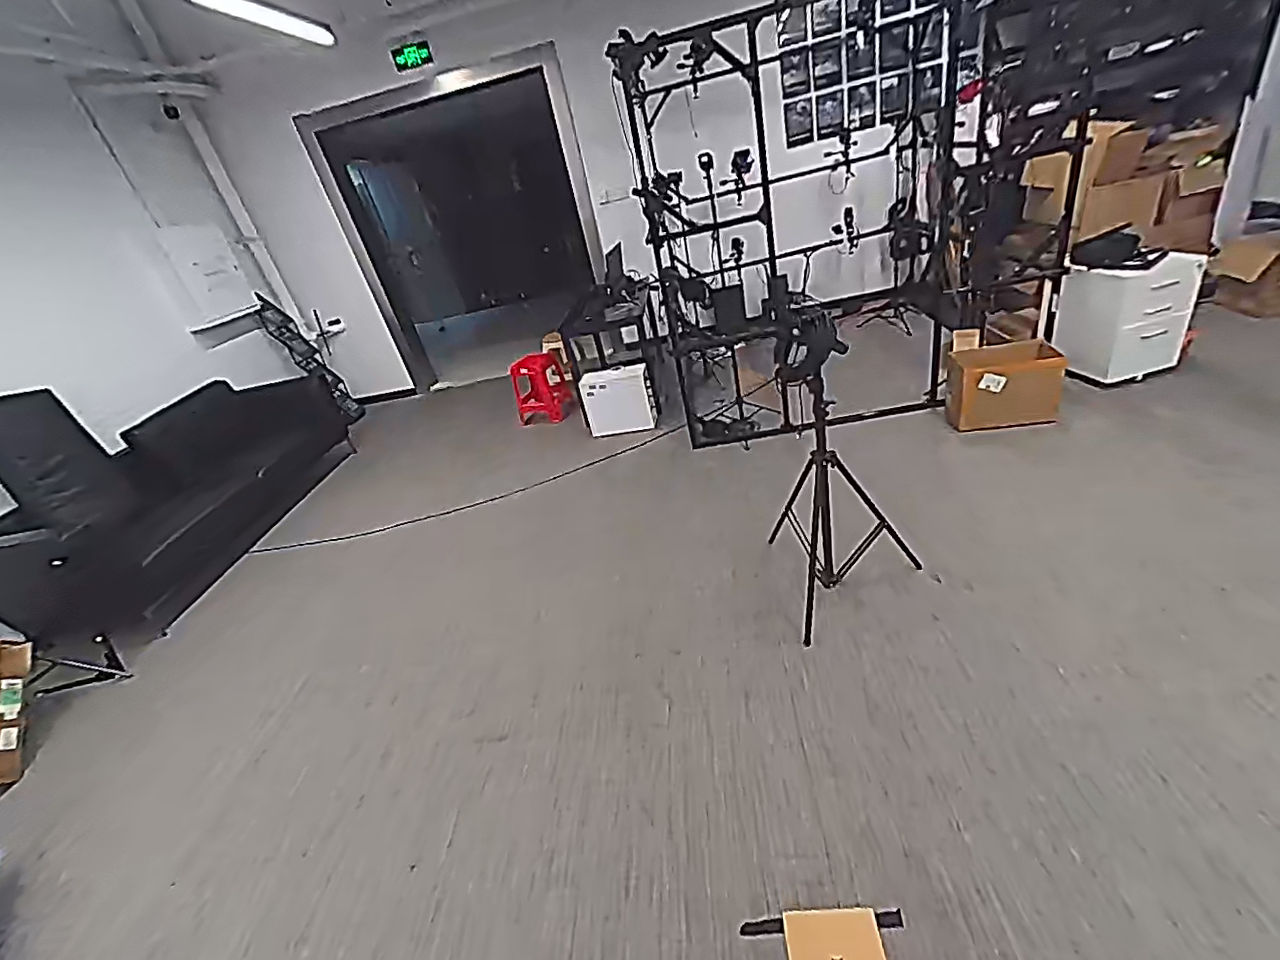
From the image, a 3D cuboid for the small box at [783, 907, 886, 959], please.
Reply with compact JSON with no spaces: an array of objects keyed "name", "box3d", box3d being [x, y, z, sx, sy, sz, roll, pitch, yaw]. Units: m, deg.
[{"name":"small box","box3d":[0.355,0.899,0.959,0.168,0.176,0.179,-10,30,9]}]
